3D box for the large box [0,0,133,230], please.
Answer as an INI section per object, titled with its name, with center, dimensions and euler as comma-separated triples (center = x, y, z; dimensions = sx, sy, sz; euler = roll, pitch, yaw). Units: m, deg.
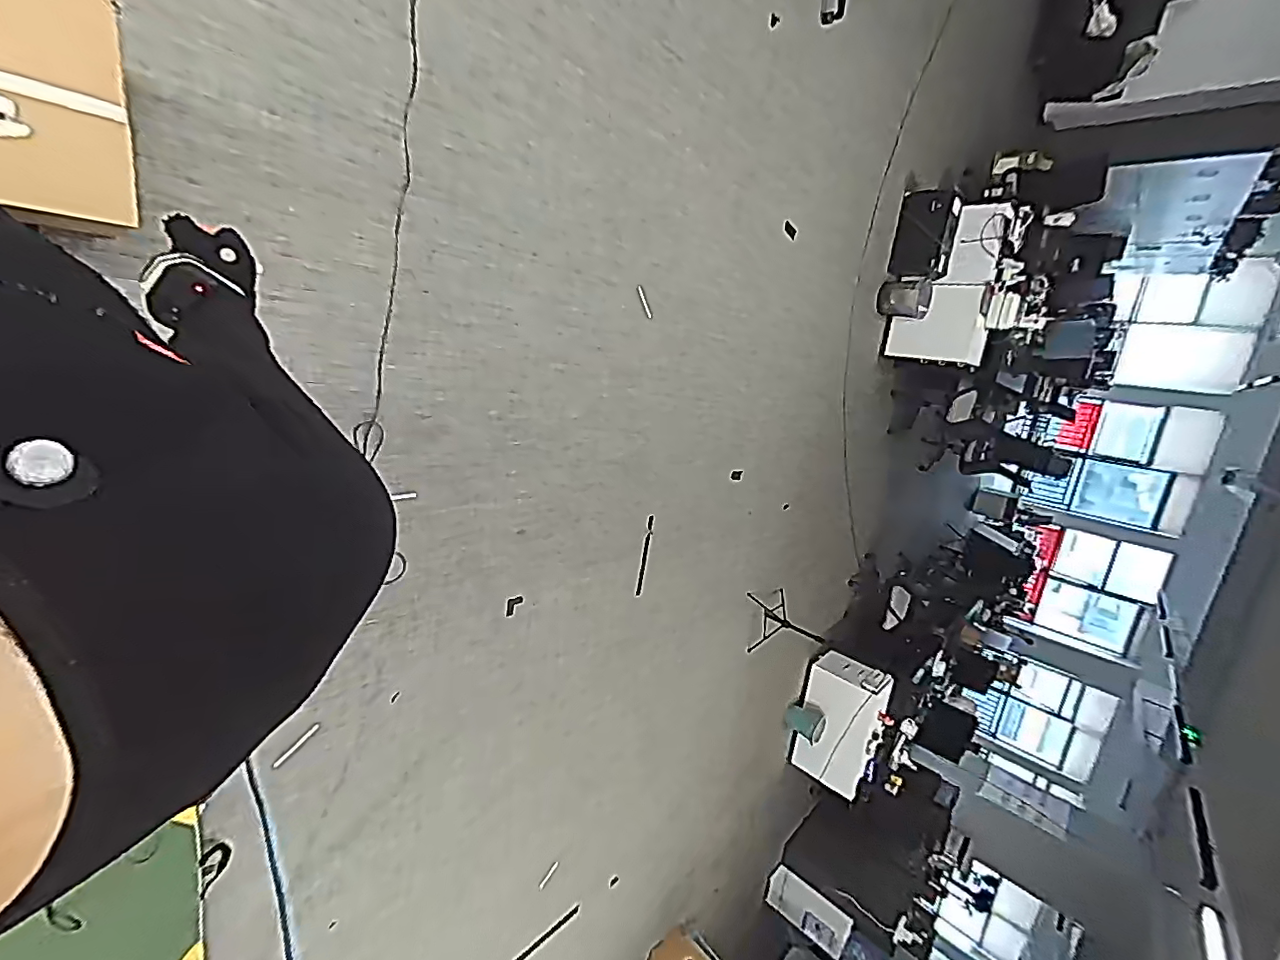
[large box]
center = -1.028, -0.565, 0.762
dimensions = 0.408, 0.320, 0.320
euler = -10, 112, -48
